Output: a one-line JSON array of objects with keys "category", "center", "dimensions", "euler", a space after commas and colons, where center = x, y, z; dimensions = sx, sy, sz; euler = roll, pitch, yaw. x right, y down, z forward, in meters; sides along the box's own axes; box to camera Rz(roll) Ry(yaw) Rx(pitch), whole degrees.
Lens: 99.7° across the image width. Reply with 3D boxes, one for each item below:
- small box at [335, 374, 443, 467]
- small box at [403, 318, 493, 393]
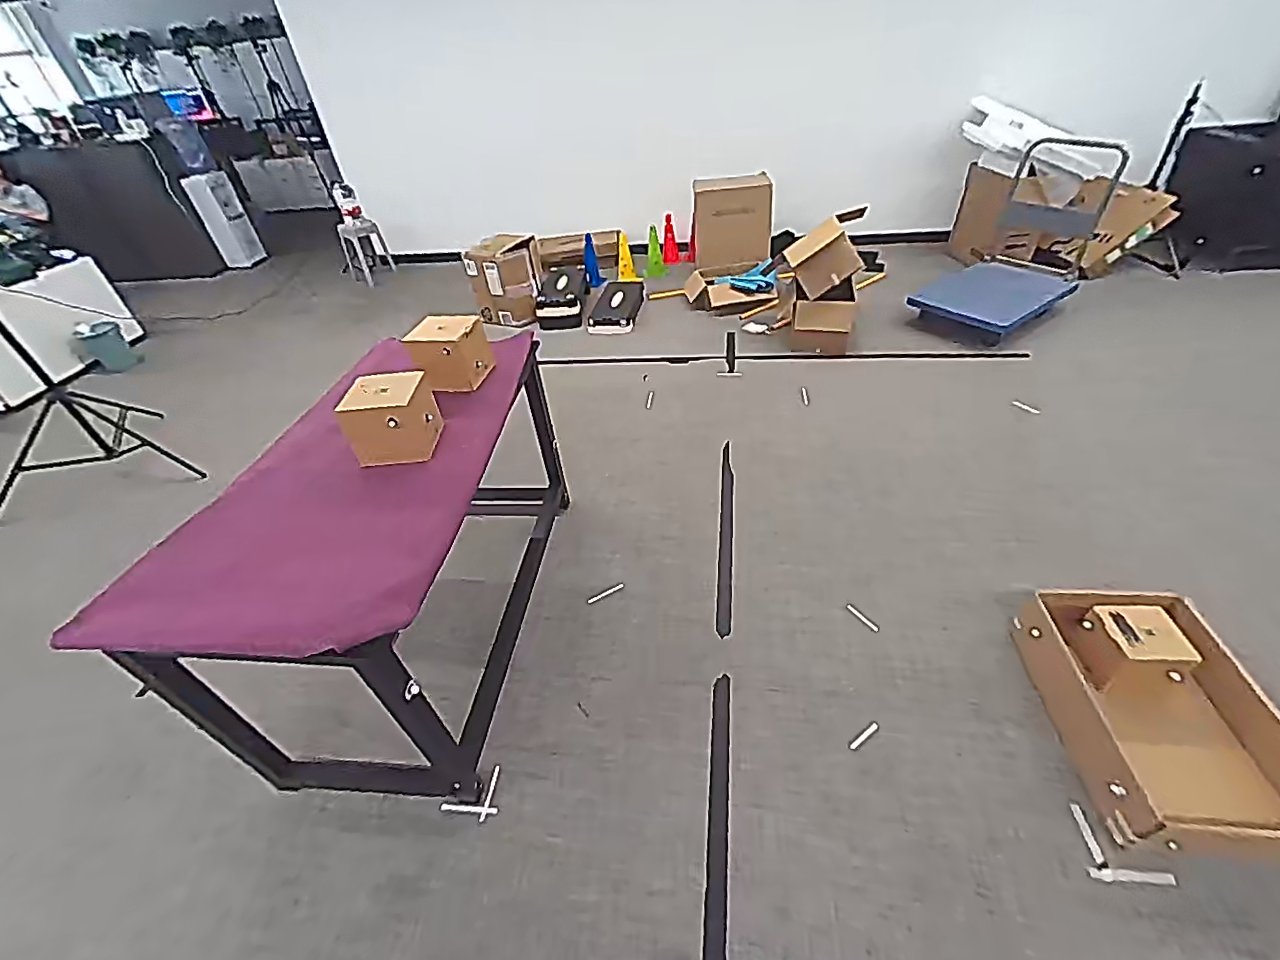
[{"category": "small box", "center": [-0.622, -0.150, 1.370], "dimensions": [0.179, 0.176, 0.168], "euler": [-6, 40, 1]}, {"category": "small box", "center": [-0.570, -0.373, 1.628], "dimensions": [0.179, 0.176, 0.168], "euler": [2, 41, 12]}]
